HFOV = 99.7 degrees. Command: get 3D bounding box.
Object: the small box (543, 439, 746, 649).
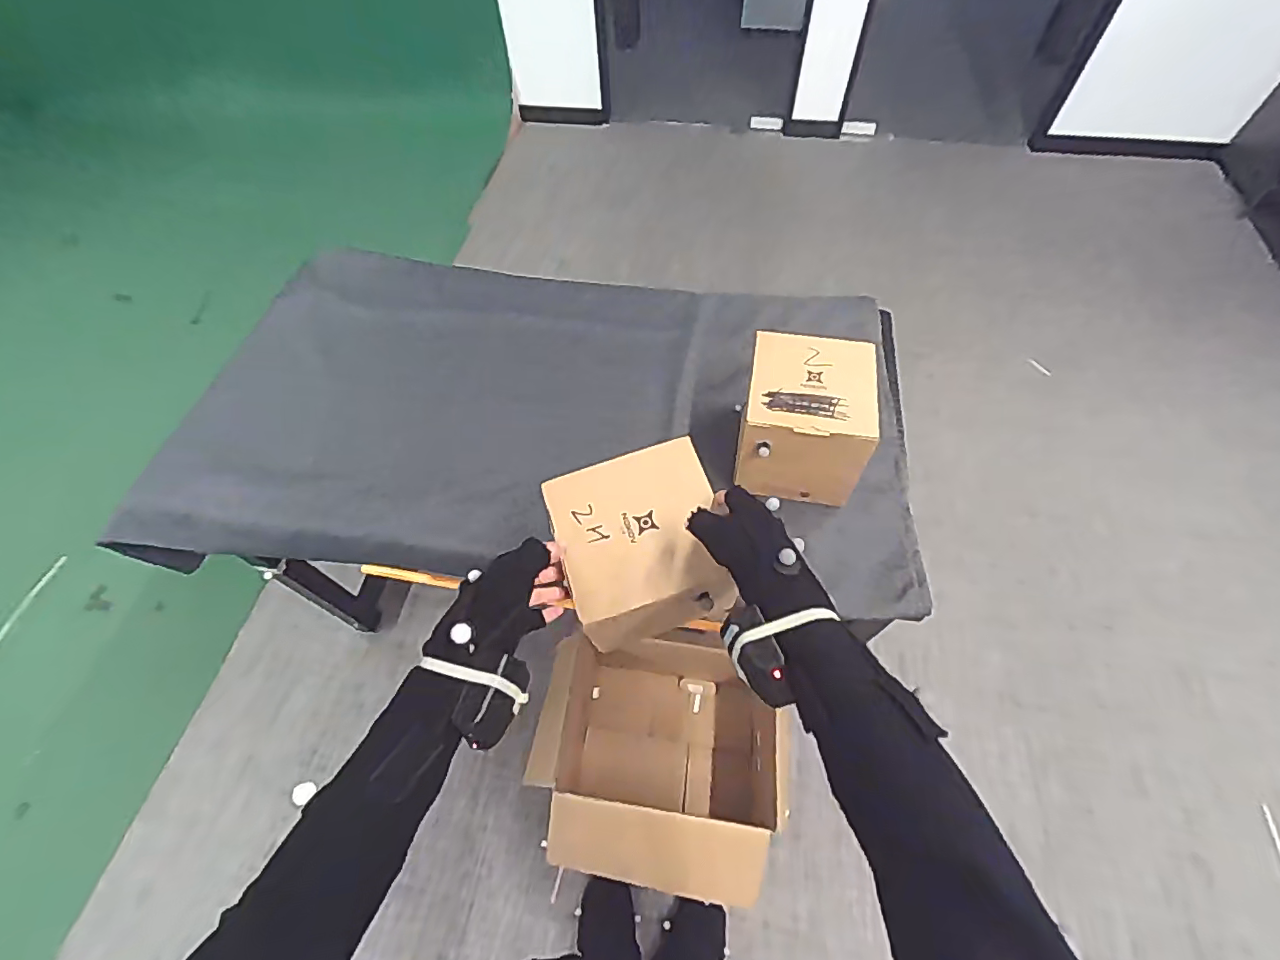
[{"bbox_3d":[0.004,0.082,0.633,0.179,0.176,0.168,-19,64,-4],"label":"small box"}]
